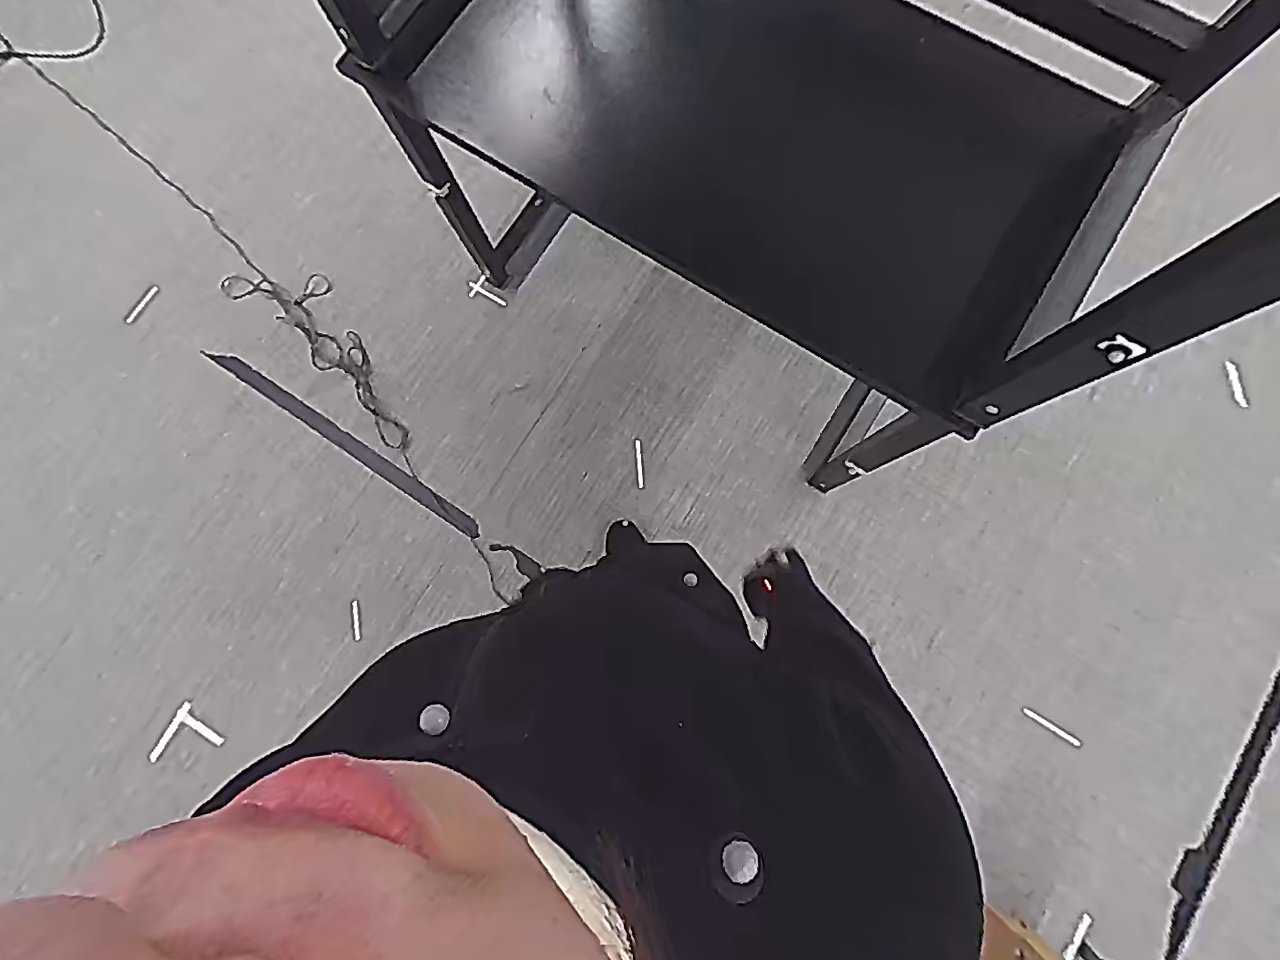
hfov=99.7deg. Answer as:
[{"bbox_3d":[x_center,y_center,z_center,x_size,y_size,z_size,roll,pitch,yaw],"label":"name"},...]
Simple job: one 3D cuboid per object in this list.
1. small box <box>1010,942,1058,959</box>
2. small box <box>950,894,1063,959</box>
[{"bbox_3d":[0.847,1.087,1.078,0.179,0.176,0.168,34,85,5],"label":"small box"},{"bbox_3d":[0.852,1.120,1.238,0.168,0.176,0.179,31,84,6],"label":"small box"}]
